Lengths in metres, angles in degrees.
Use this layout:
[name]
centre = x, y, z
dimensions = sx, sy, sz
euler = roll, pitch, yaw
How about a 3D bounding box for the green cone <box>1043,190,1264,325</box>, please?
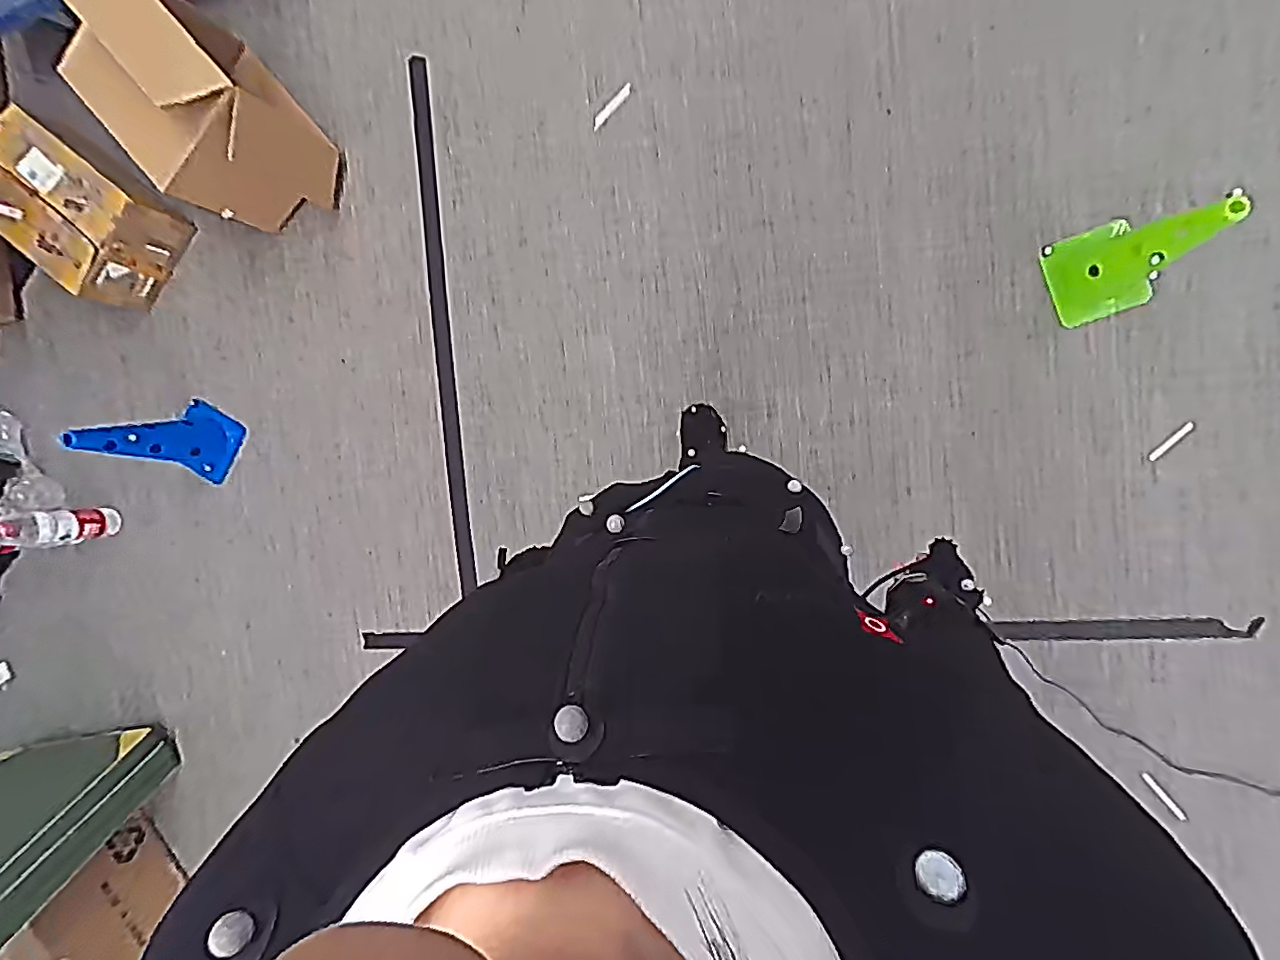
[green cone]
centre = 1.043, -0.472, 1.085
dimensions = 0.202, 0.368, 0.200
euler = -20, 91, 7
